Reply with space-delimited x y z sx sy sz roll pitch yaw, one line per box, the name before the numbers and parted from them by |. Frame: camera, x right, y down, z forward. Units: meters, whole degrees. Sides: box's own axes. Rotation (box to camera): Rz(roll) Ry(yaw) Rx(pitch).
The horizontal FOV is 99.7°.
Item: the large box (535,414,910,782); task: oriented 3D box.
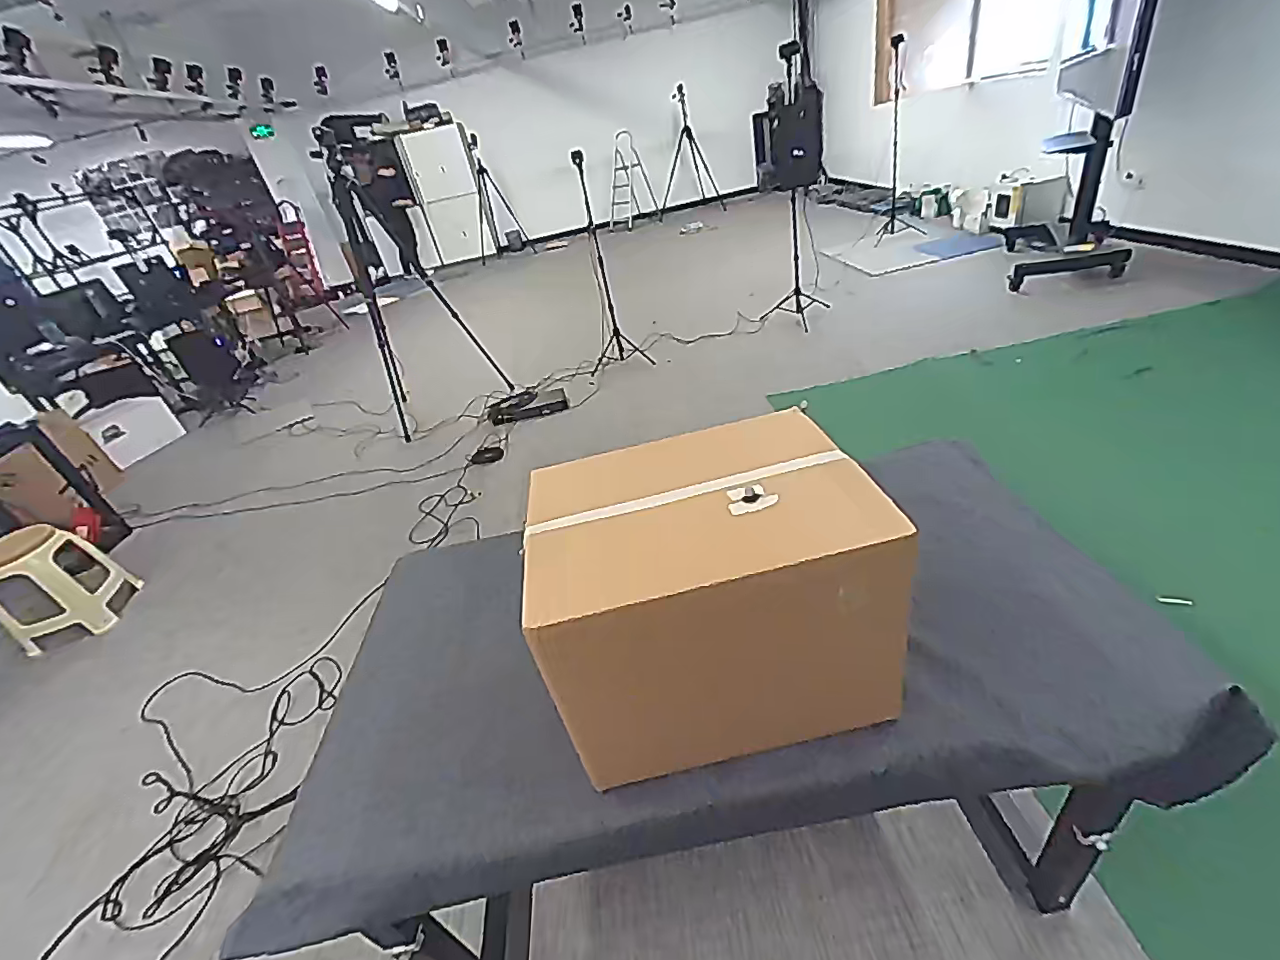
large box | 0.089 0.147 0.748 0.408 0.320 0.320 -13 33 -2
